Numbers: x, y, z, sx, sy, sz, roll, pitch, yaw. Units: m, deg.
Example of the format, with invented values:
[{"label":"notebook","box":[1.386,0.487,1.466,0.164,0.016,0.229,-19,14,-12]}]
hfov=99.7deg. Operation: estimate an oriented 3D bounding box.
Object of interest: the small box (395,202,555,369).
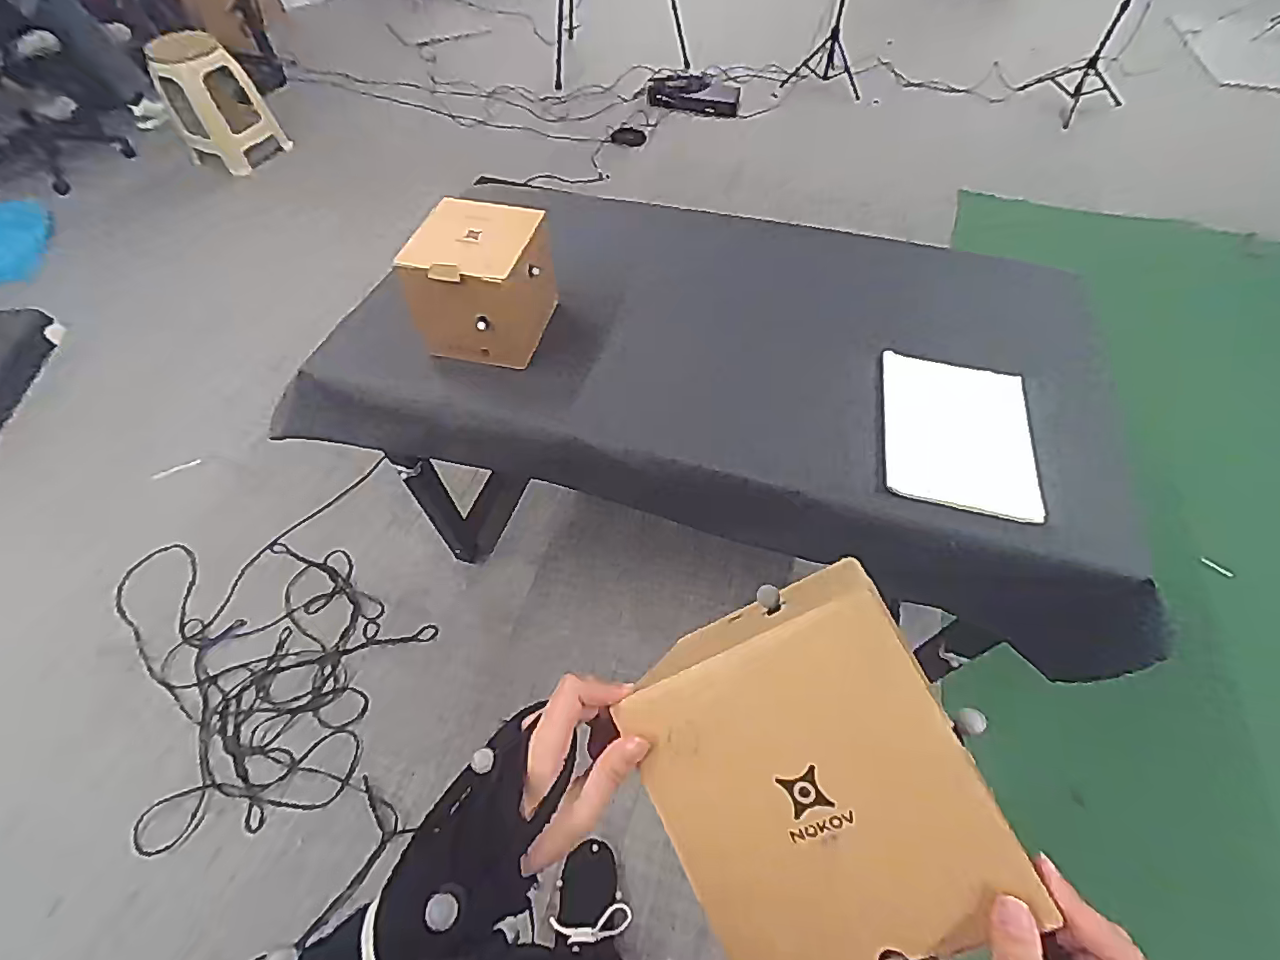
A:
[{"label":"small box","box":[-0.238,-0.297,0.839,0.168,0.176,0.179,11,55,6]}]
